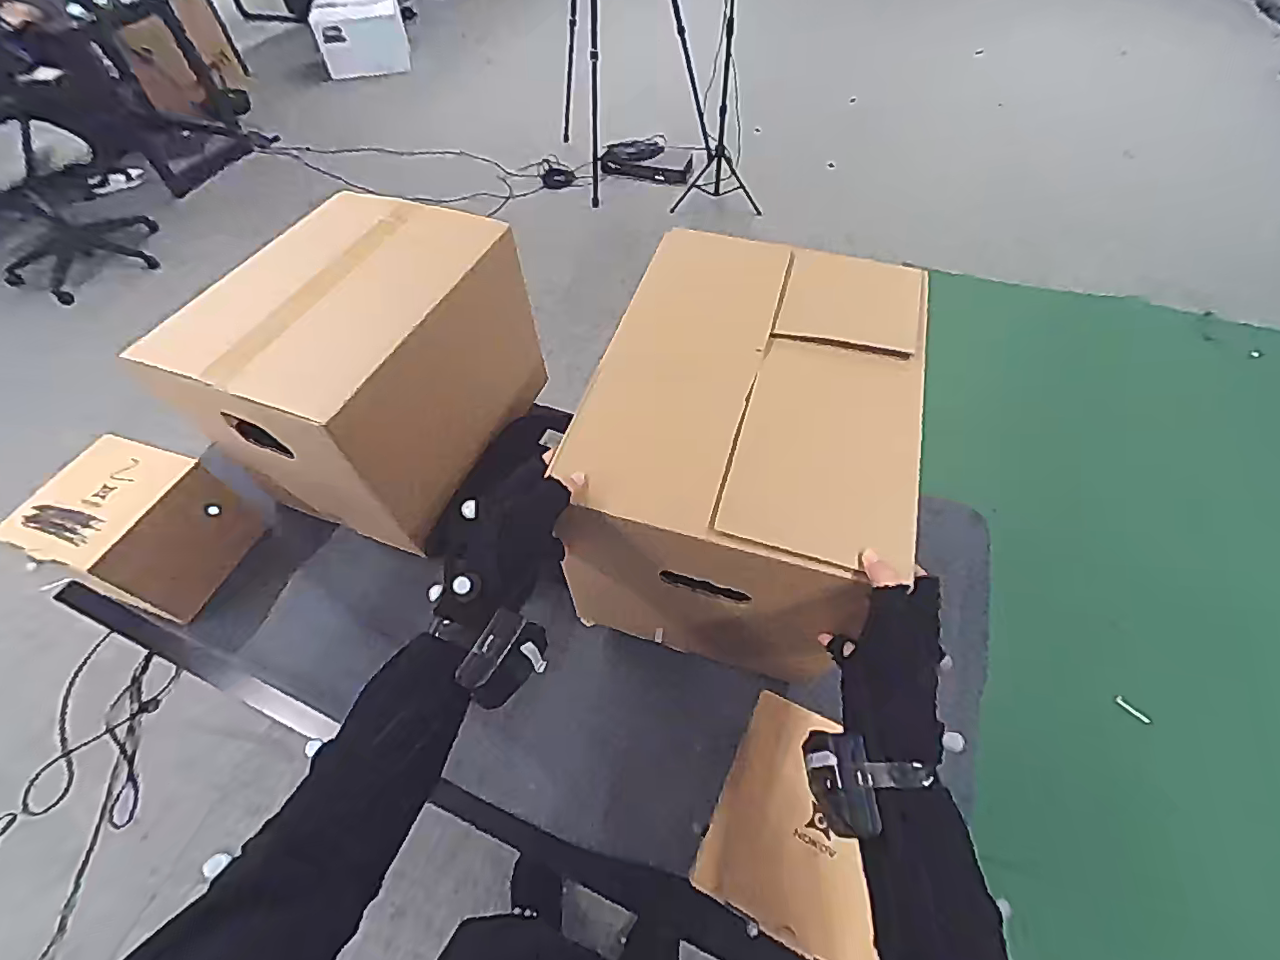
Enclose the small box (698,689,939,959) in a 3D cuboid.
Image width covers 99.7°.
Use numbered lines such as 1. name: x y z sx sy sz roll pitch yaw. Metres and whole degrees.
1. small box: 0.161 0.341 0.532 0.168 0.176 0.179 22 61 18
